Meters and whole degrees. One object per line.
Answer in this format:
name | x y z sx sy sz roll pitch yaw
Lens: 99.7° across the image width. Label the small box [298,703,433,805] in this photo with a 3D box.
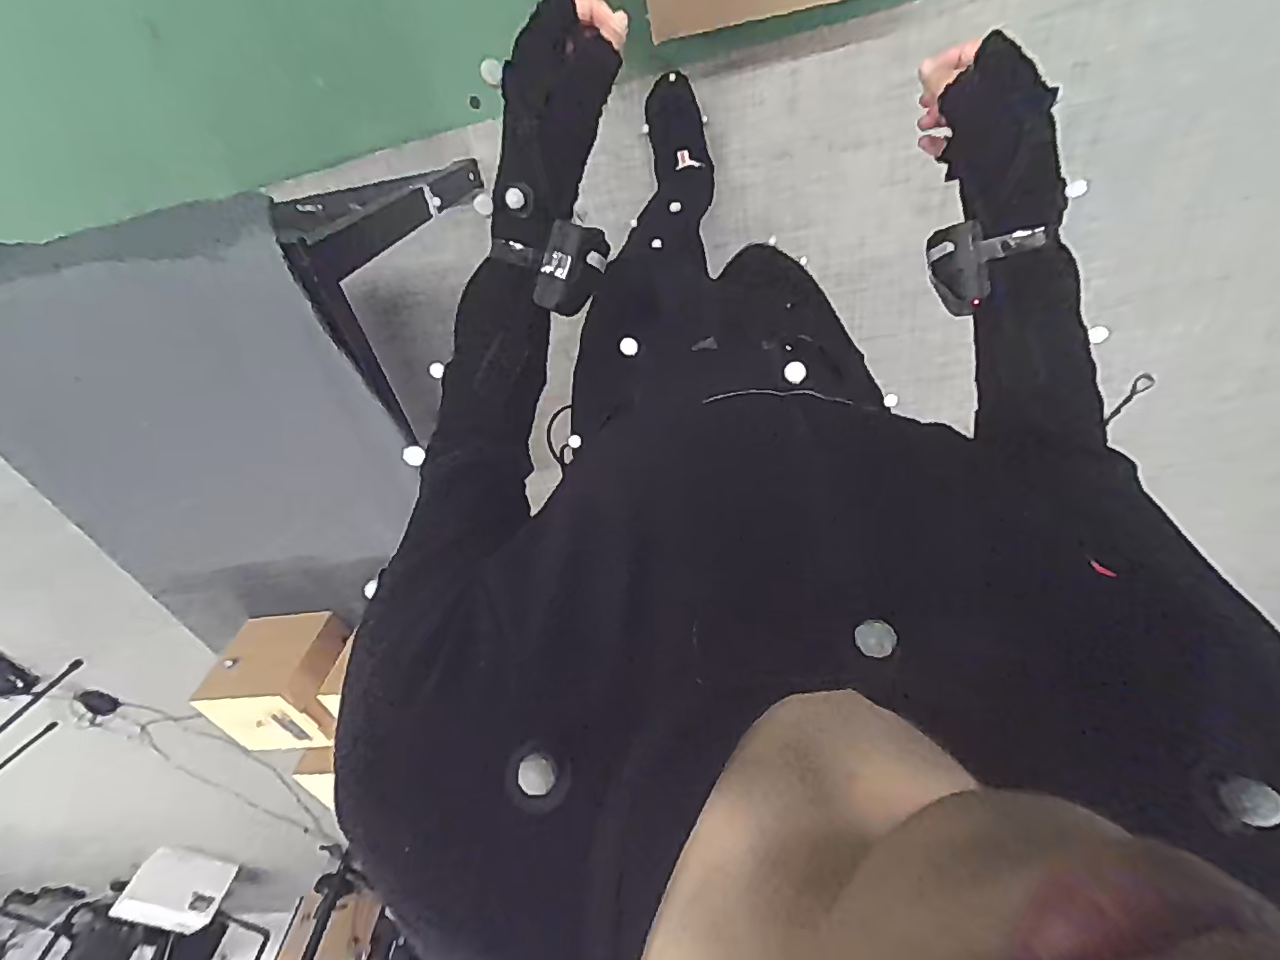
small box | -0.554 0.555 1.131 0.179 0.176 0.168 -6 127 9
